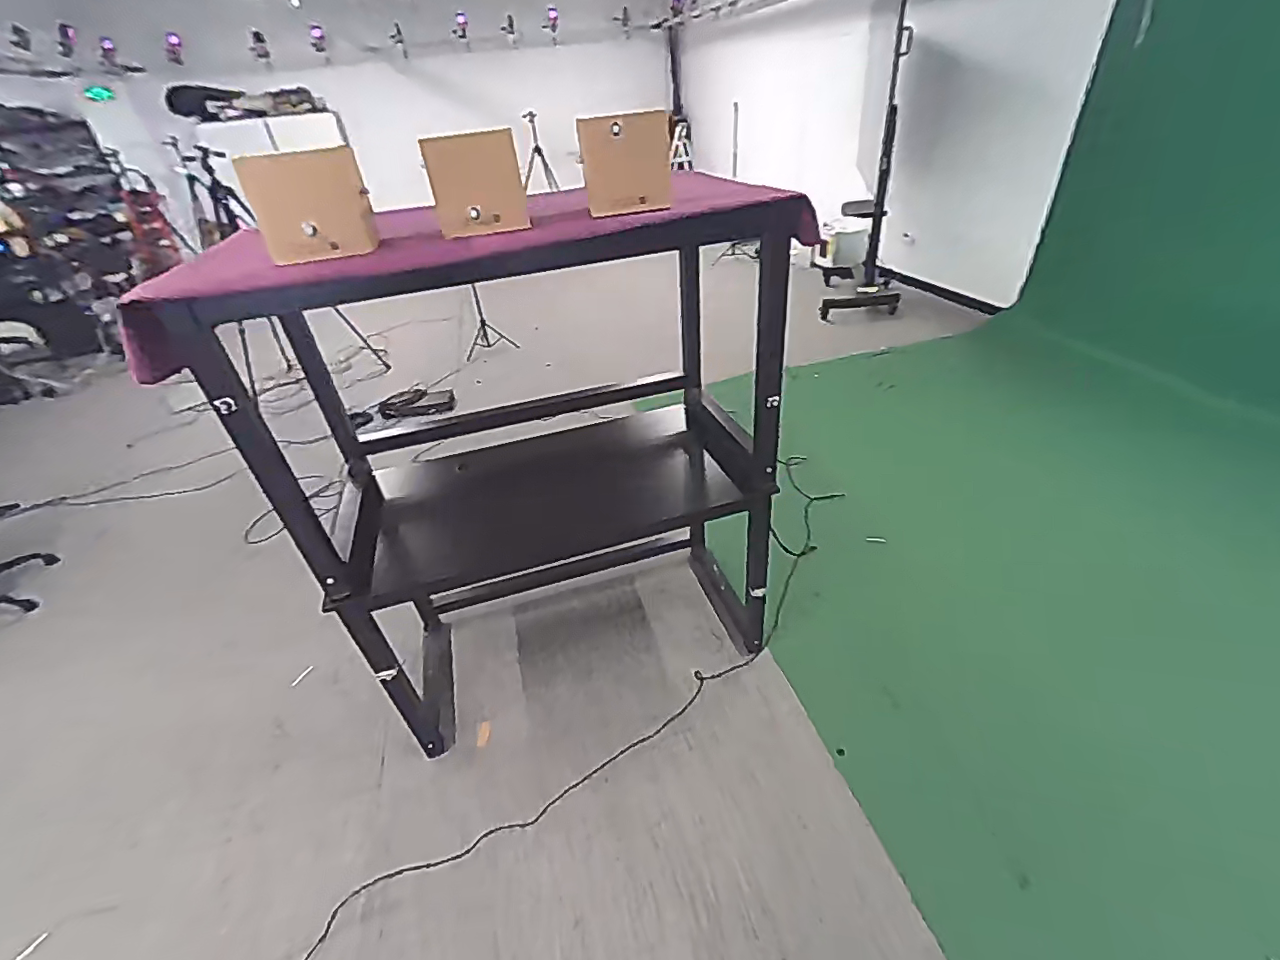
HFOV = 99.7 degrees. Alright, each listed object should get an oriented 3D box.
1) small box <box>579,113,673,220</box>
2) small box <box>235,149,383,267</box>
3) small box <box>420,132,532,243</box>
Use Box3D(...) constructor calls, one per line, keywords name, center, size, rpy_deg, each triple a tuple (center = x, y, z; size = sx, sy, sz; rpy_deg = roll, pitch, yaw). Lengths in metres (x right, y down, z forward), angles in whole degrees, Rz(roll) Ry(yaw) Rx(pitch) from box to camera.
Box3D(name="small box", center=(-0.030, -0.638, 1.106), size=(0.168, 0.176, 0.179), rpy_deg=(-10, 33, -3))
Box3D(name="small box", center=(-0.585, -0.498, 0.986), size=(0.168, 0.176, 0.179), rpy_deg=(-14, 36, -11))
Box3D(name="small box", center=(-0.313, -0.573, 1.058), size=(0.168, 0.176, 0.179), rpy_deg=(-13, 35, -8))
